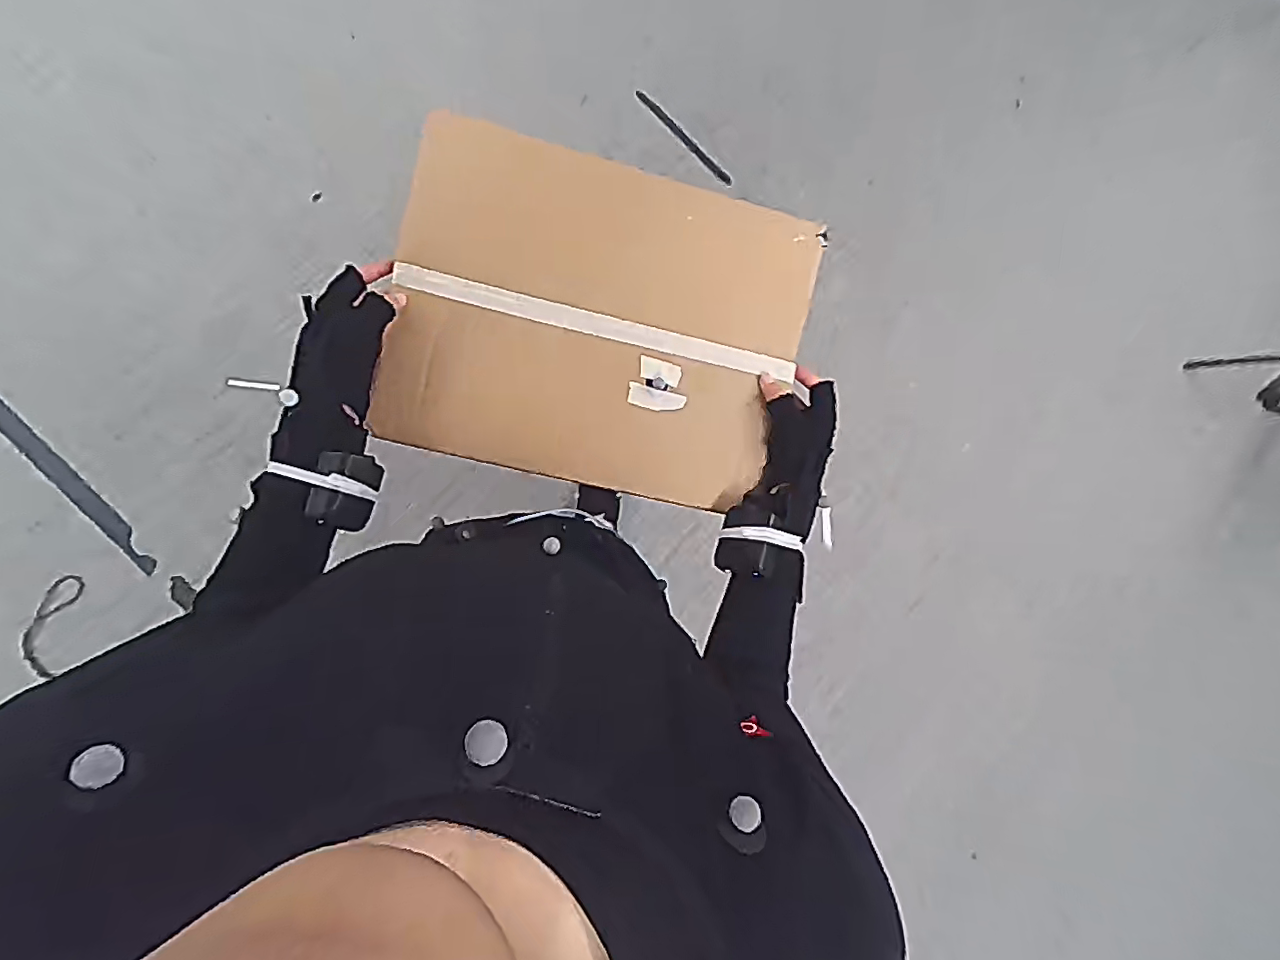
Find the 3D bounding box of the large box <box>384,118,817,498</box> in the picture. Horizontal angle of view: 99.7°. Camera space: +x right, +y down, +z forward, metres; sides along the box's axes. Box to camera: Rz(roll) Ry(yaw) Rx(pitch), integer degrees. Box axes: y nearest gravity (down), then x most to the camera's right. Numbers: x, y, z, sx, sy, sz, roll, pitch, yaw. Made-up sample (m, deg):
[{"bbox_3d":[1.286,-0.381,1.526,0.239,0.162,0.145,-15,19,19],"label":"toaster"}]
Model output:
[{"bbox_3d":[-0.053,-0.175,0.701,0.408,0.320,0.320,12,93,-8],"label":"large box"}]
